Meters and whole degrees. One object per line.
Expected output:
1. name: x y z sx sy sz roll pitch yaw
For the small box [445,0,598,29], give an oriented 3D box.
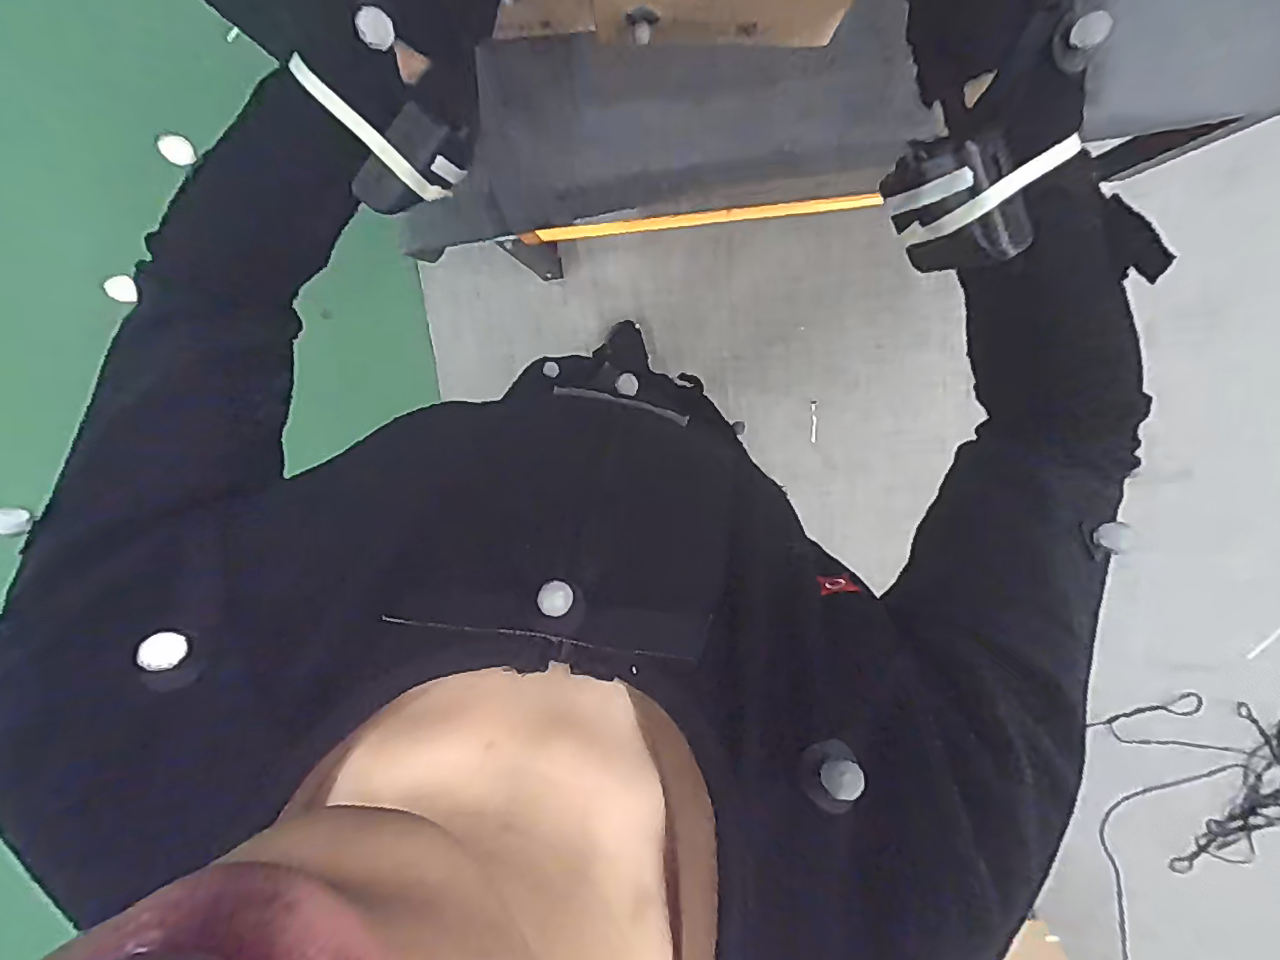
1. small box: -0.135 -0.589 0.535 0.168 0.176 0.179 -3 101 2
